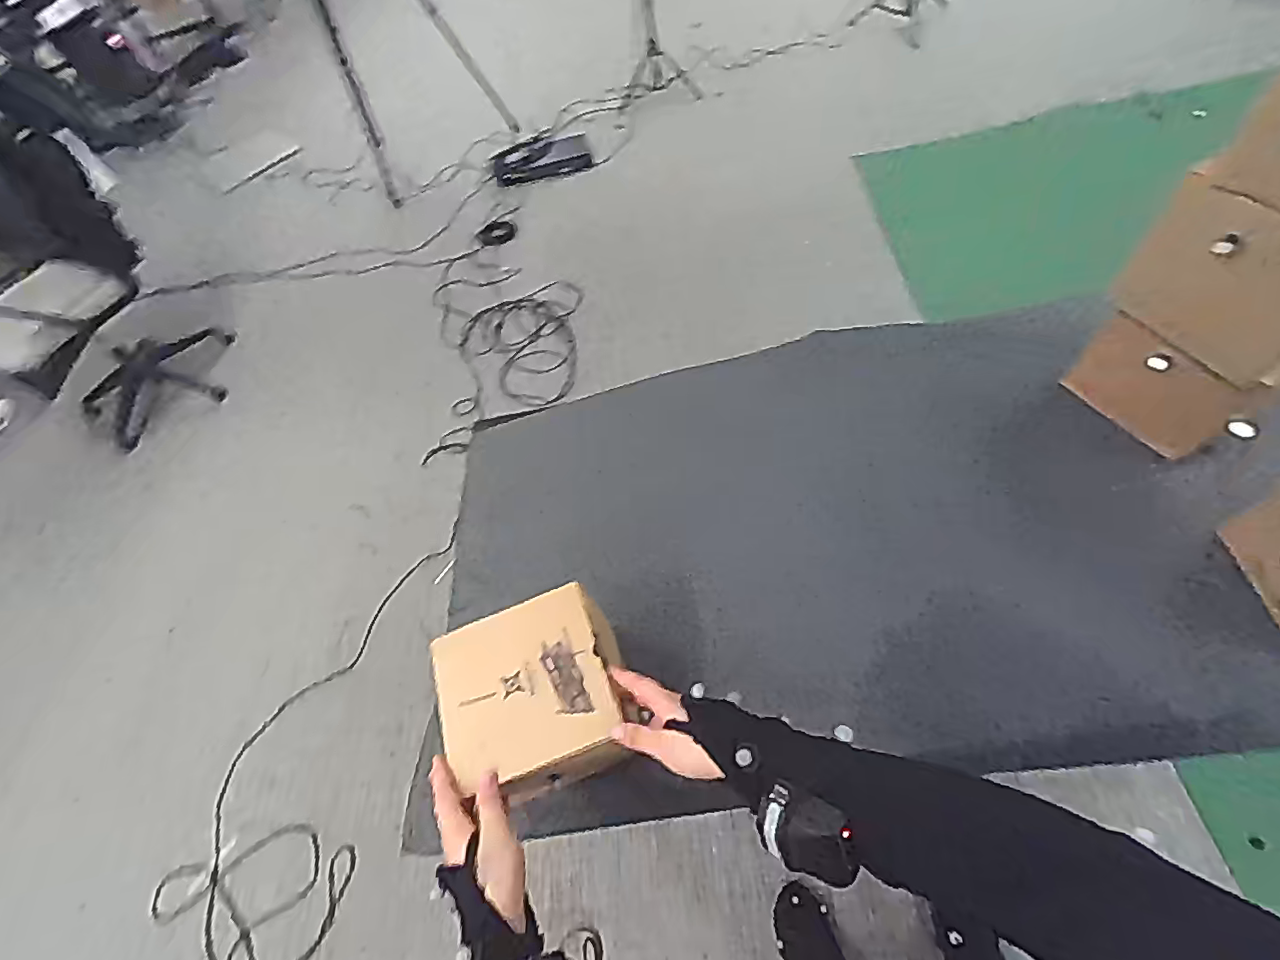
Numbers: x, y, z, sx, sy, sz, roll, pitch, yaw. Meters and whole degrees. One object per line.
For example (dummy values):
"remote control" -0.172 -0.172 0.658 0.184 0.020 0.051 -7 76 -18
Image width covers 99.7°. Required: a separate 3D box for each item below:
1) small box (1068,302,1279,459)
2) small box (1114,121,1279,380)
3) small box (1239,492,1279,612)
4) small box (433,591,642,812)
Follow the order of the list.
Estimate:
"small box" 0.712 -0.159 0.691 0.168 0.176 0.179 -30 59 -4
"small box" 0.658 -0.238 0.554 0.168 0.176 0.179 -27 57 -1
"small box" 0.767 0.076 0.529 0.179 0.176 0.168 -6 55 10
"small box" -0.106 0.254 0.616 0.179 0.176 0.168 -23 57 -1
